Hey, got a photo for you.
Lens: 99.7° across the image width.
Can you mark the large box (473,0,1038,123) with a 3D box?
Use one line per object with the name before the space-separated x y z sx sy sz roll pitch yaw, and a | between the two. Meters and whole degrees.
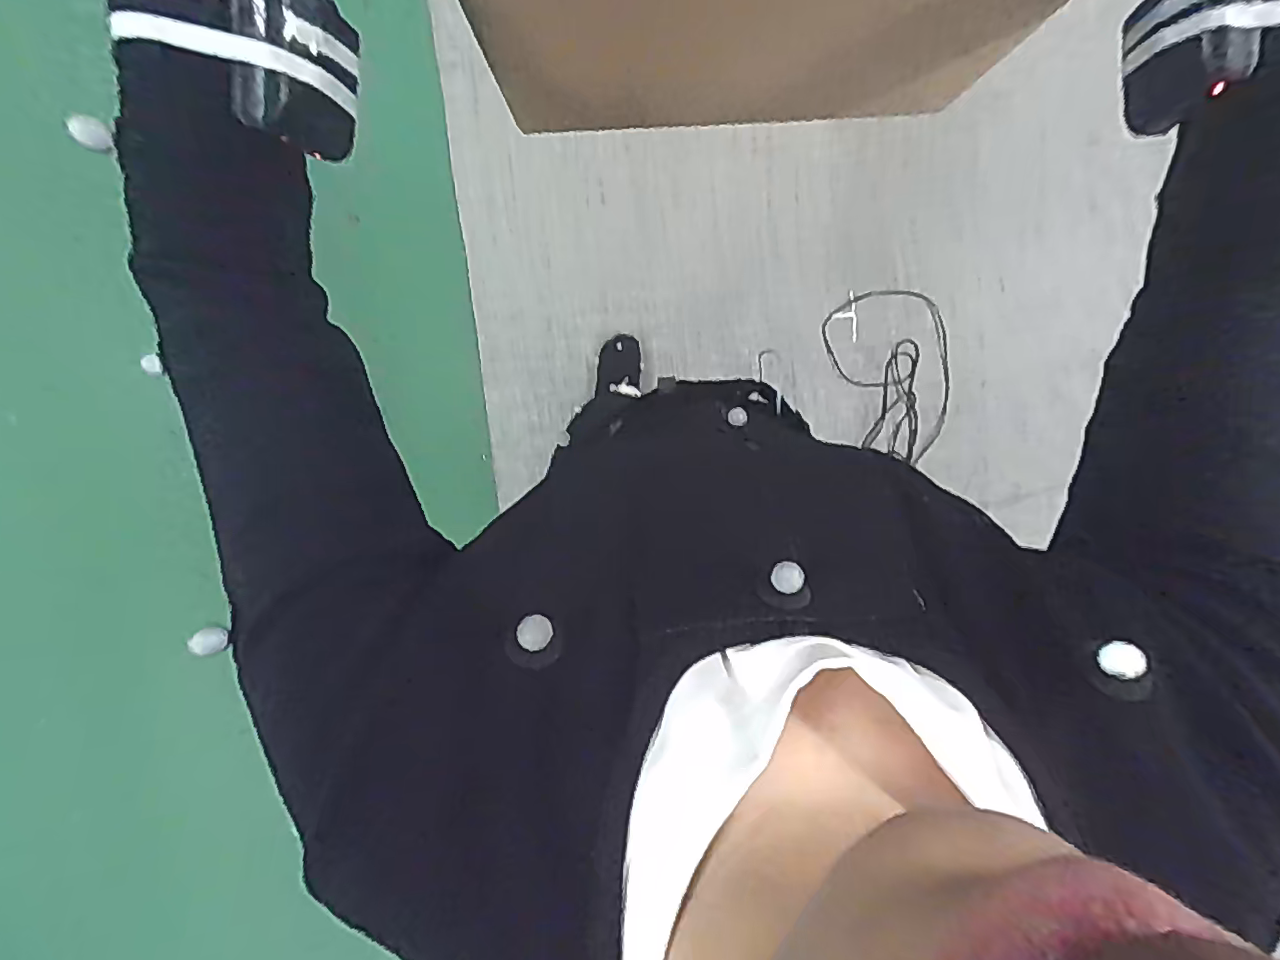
large box | 0.077 -0.469 0.341 0.408 0.320 0.320 -3 102 -1
